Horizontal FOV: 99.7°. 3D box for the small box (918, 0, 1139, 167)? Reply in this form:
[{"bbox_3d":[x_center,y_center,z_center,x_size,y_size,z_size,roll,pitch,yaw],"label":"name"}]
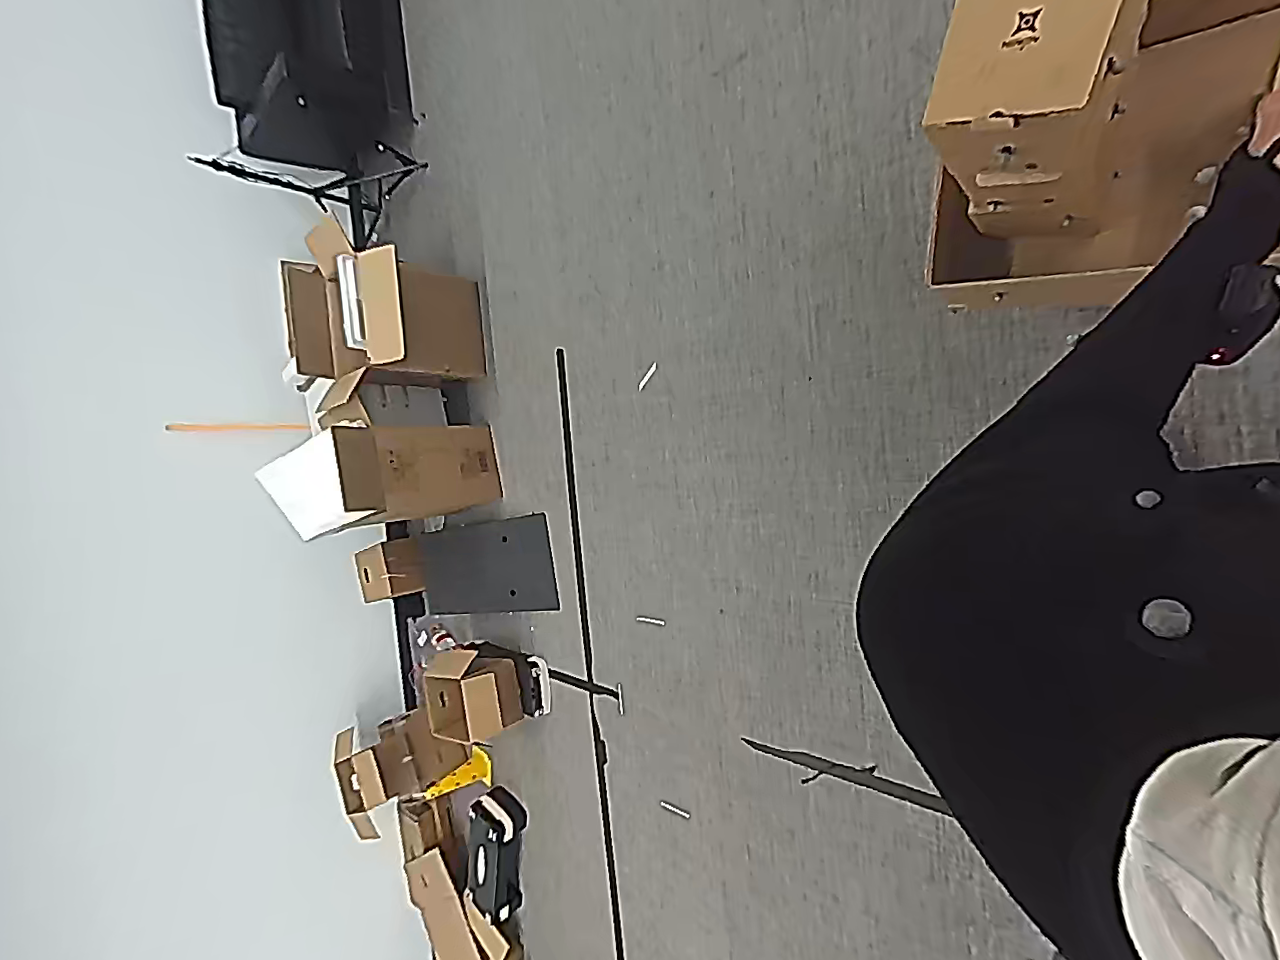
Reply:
[{"bbox_3d":[0.469,-0.496,0.653,0.168,0.176,0.179,24,110,38],"label":"small box"}]

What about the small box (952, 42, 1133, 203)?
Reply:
[{"bbox_3d":[0.578,-0.513,0.775,0.168,0.176,0.179,19,106,39],"label":"small box"}]
